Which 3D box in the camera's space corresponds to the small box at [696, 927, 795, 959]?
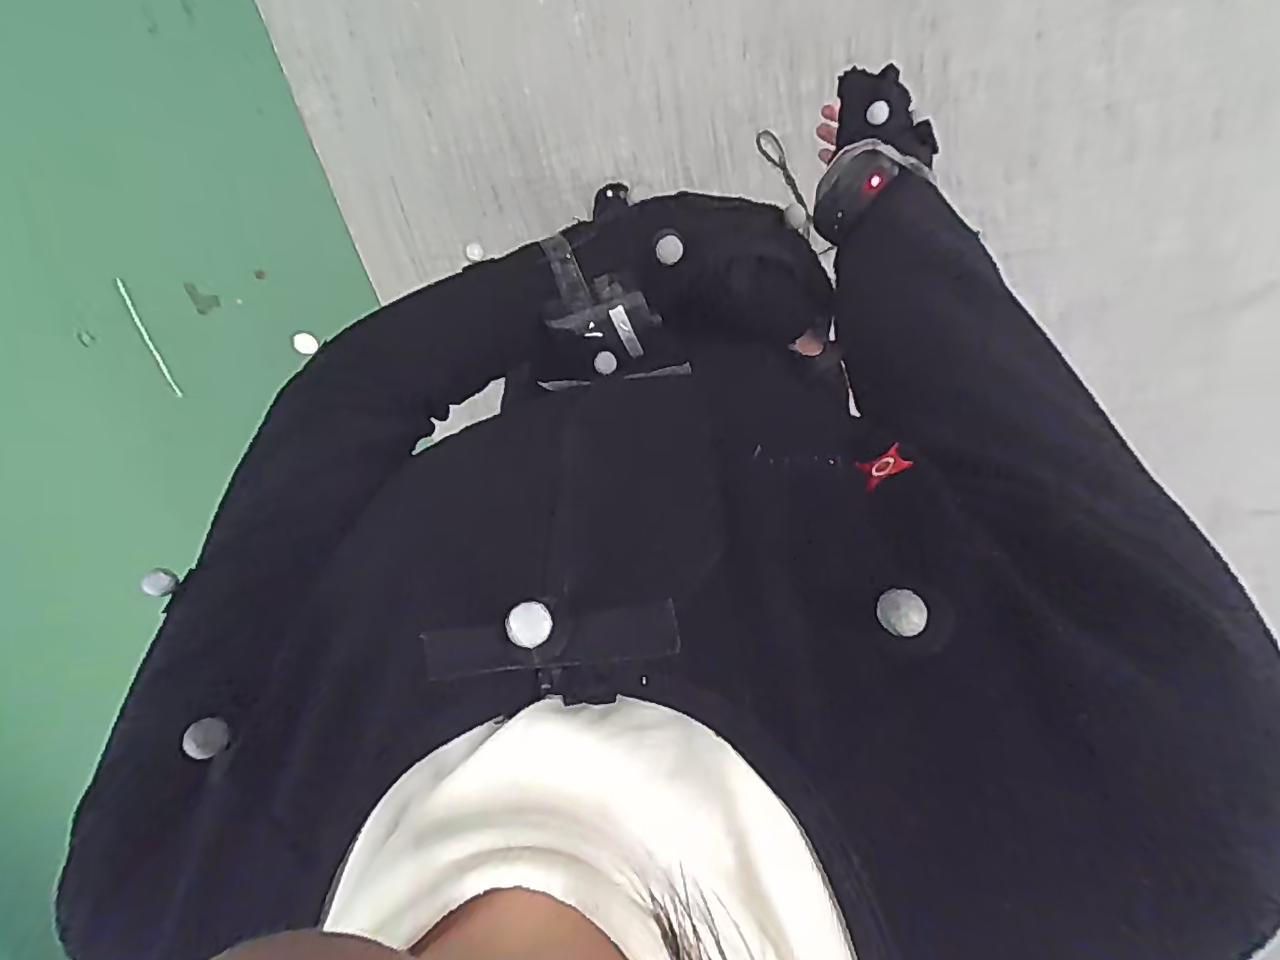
[{"bbox_3d":[0.195,0.928,0.949,0.179,0.176,0.168,-10,111,9],"label":"small box"}]
